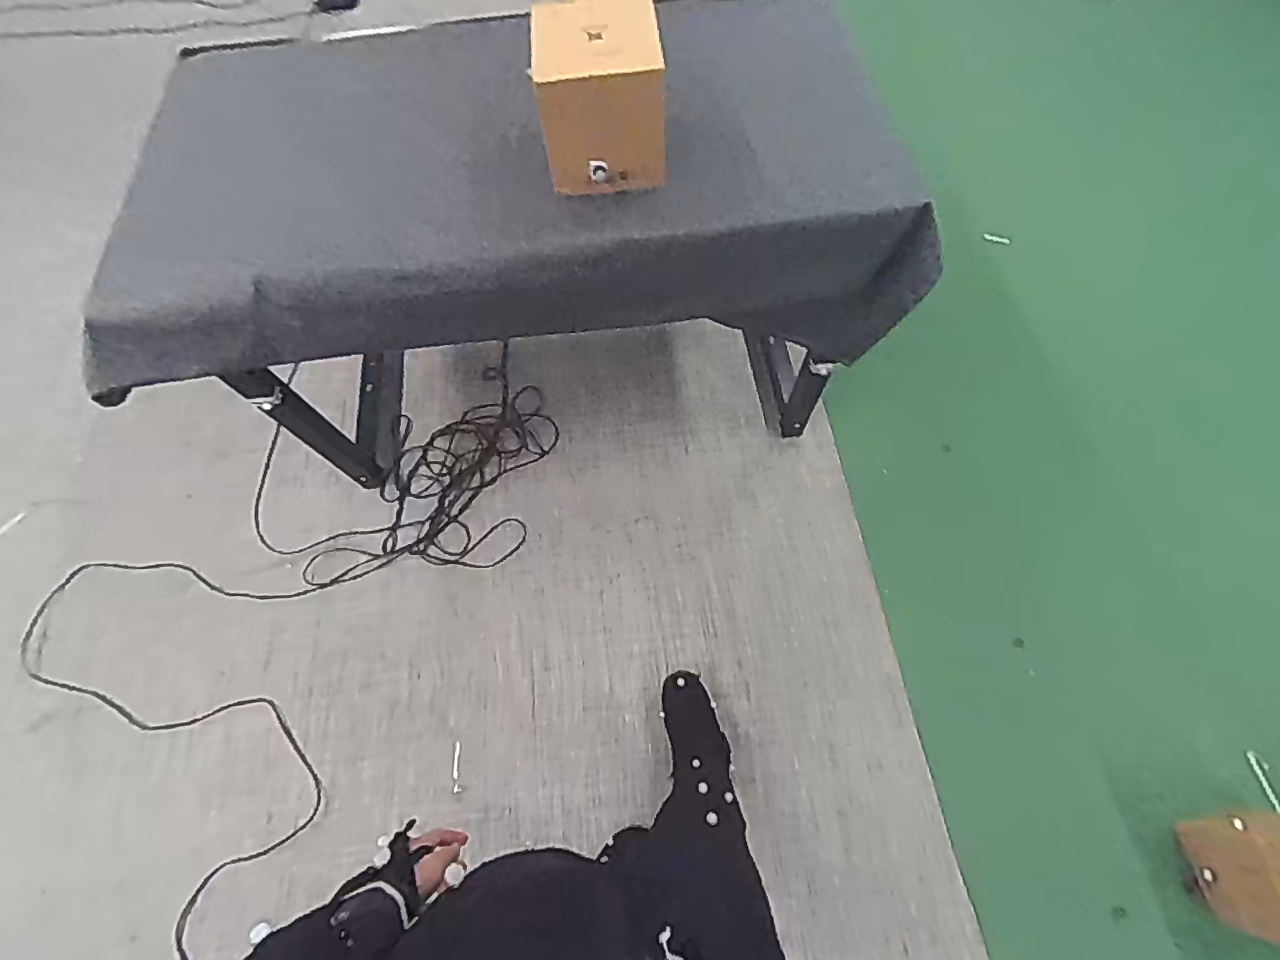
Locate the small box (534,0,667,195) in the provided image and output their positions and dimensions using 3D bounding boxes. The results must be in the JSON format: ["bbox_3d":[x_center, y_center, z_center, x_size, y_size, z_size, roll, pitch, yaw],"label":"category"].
[{"bbox_3d":[-0.052,-0.542,0.767,0.168,0.176,0.179,-7,67,1],"label":"small box"}]
